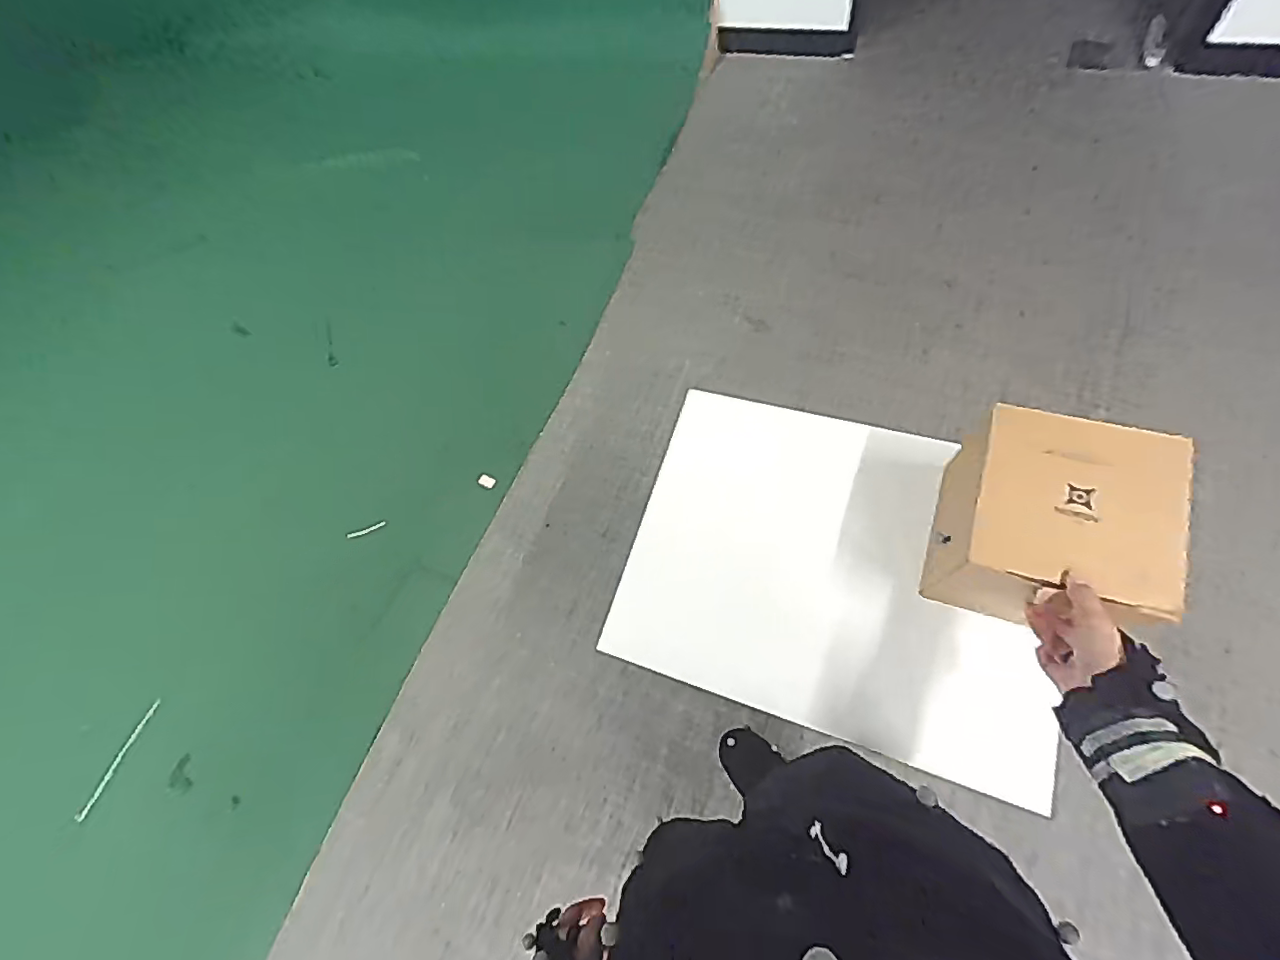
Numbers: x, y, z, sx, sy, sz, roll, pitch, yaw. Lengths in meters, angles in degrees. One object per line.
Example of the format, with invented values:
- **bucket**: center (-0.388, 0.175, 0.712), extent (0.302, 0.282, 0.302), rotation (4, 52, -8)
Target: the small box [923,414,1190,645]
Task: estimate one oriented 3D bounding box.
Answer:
- **small box**: center (0.415, 0.060, 0.567), extent (0.168, 0.176, 0.179), rotation (15, 71, 17)
